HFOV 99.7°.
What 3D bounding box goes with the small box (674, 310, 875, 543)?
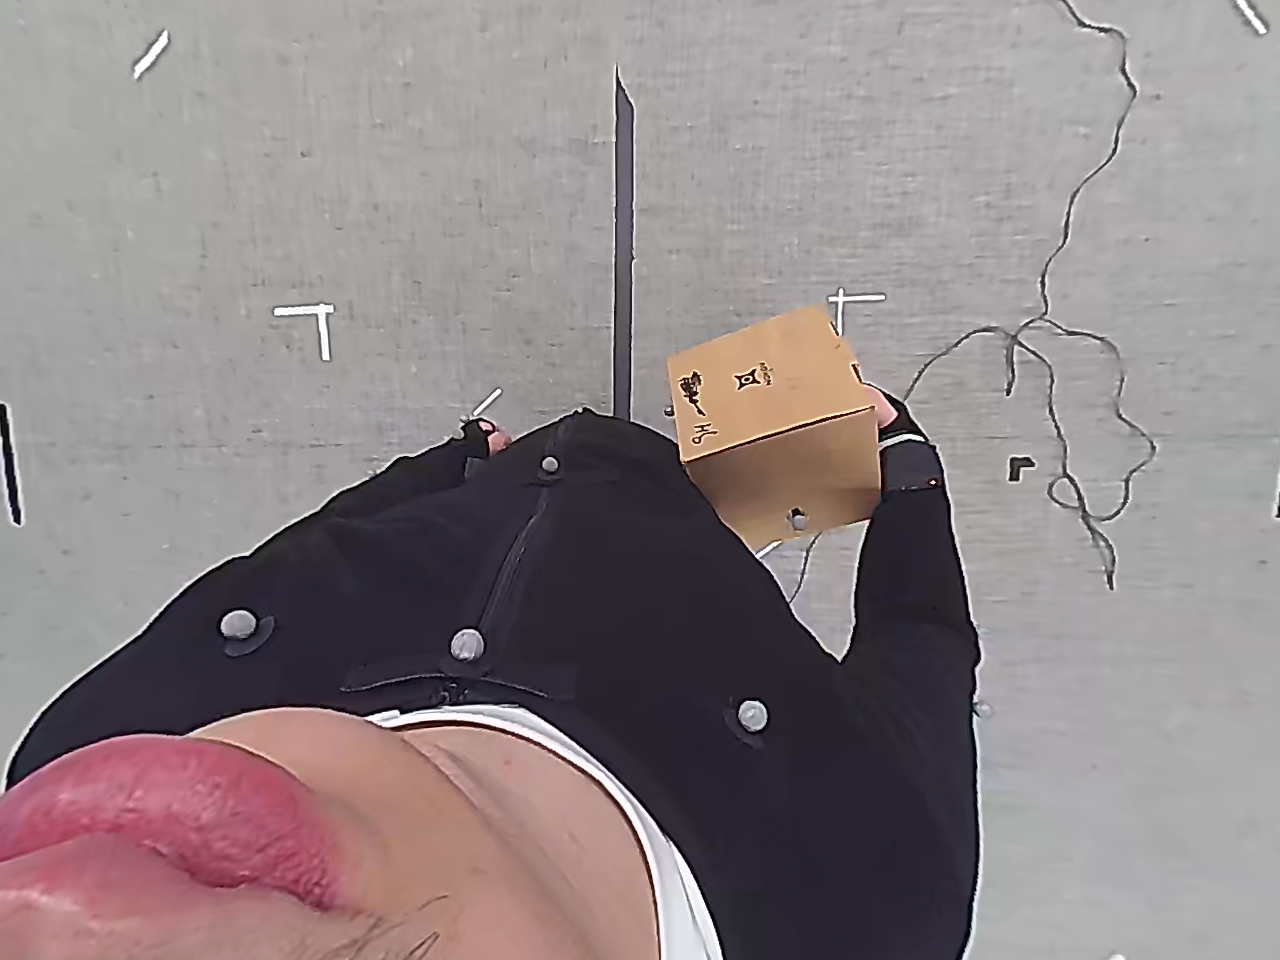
[{"bbox_3d":[0.149,-0.053,0.607,0.179,0.168,0.176,-16,136,13],"label":"small box"}]
